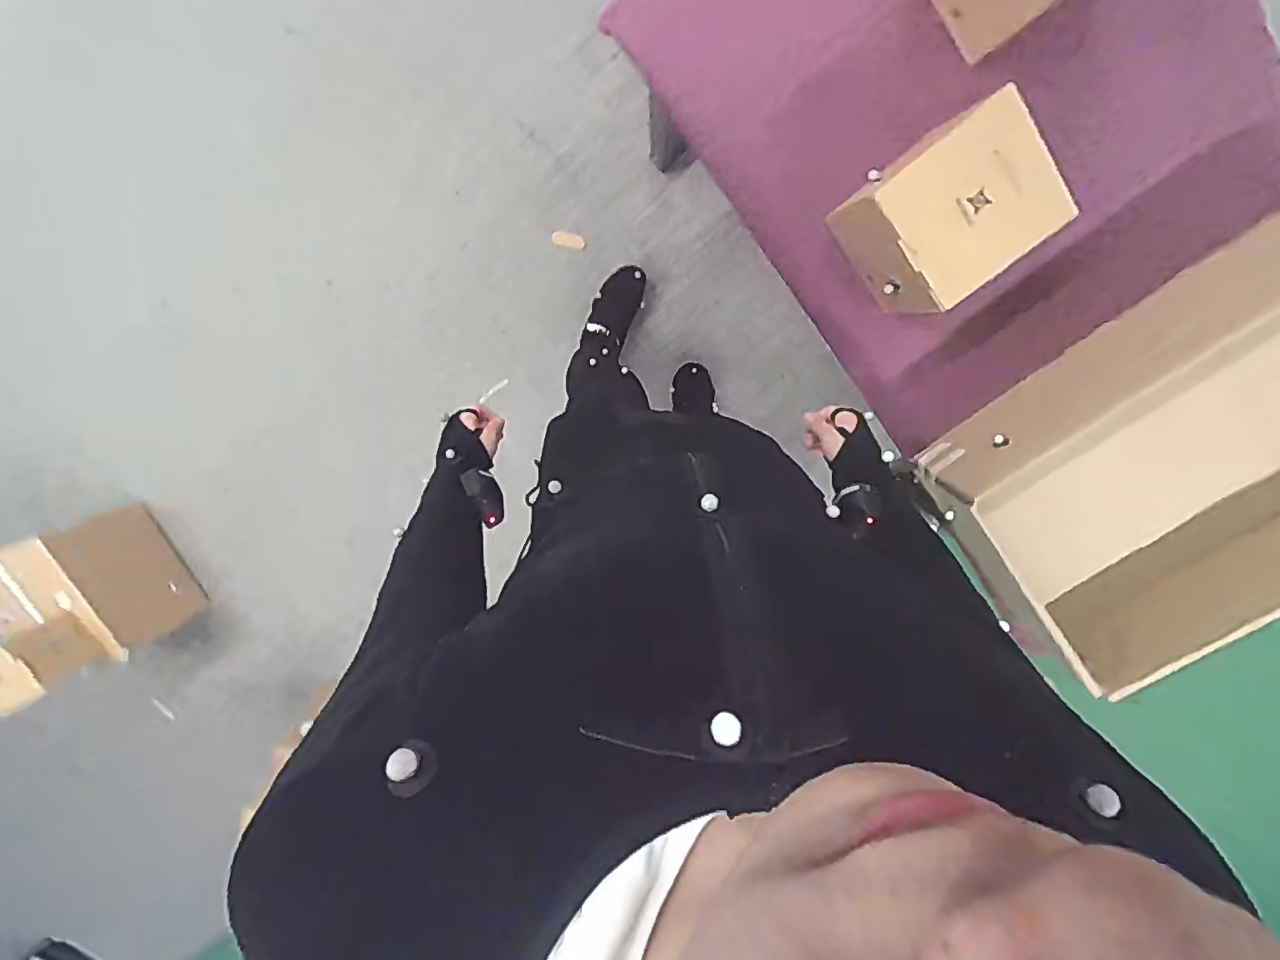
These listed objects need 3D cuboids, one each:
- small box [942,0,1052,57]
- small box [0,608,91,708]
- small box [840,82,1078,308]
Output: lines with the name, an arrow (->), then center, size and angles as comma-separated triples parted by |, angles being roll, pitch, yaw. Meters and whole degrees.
small box -> 0.440, -0.625, 0.590 | 0.179, 0.176, 0.168 | -38, 102, 12
small box -> -1.623, 0.469, 1.425 | 0.179, 0.176, 0.168 | -26, 104, 7
small box -> 0.377, -0.334, 0.682 | 0.179, 0.176, 0.168 | -37, 104, 10
